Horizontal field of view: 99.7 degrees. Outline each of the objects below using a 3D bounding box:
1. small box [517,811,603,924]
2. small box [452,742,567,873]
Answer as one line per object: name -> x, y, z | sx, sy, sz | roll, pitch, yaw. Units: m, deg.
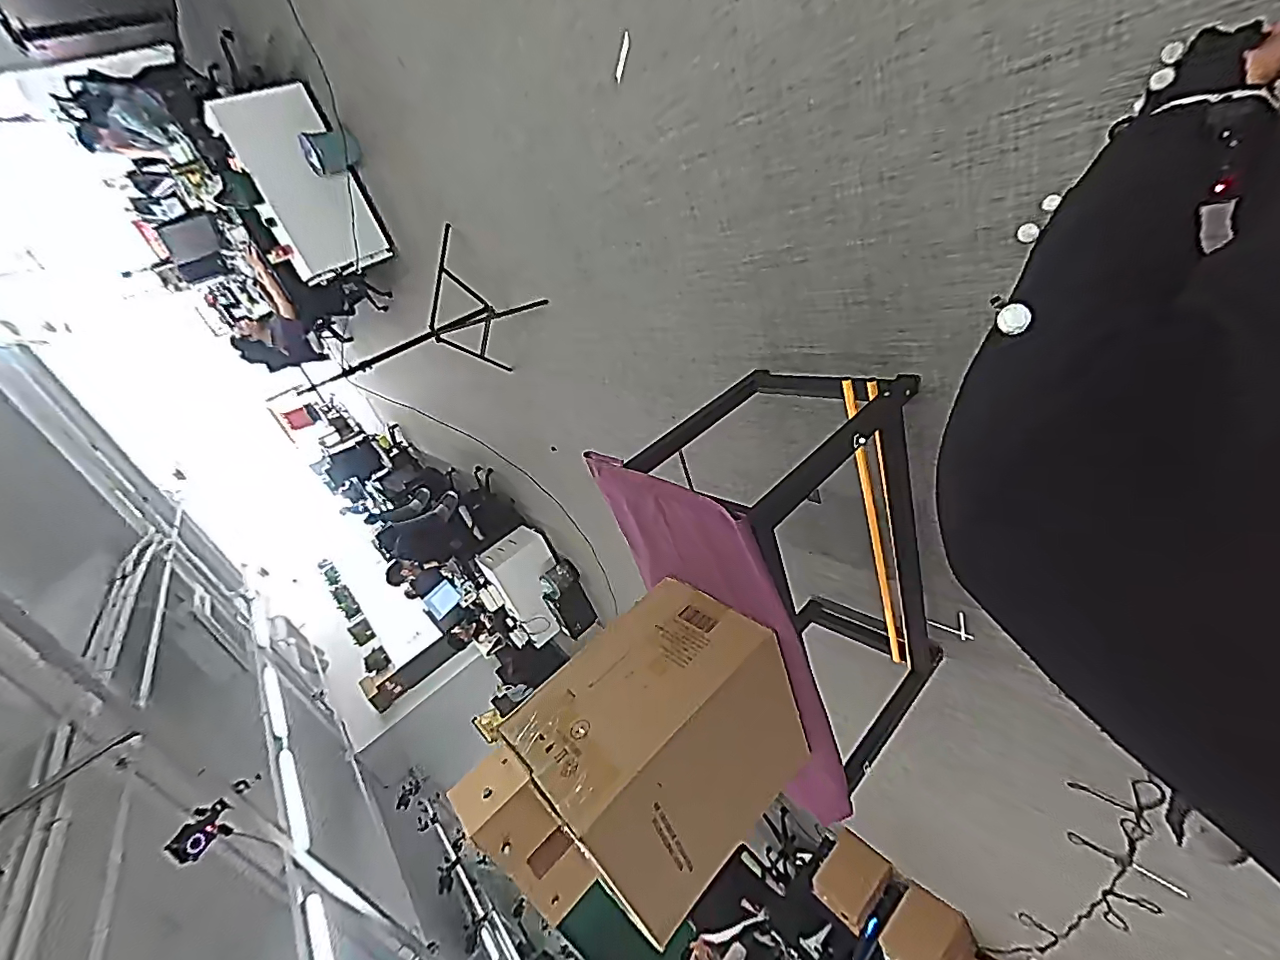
small box -> -0.221, 0.974, 1.397 | 0.168, 0.176, 0.179 | 15, 133, 49
small box -> -0.309, 0.771, 1.292 | 0.168, 0.176, 0.179 | 12, 135, 53
